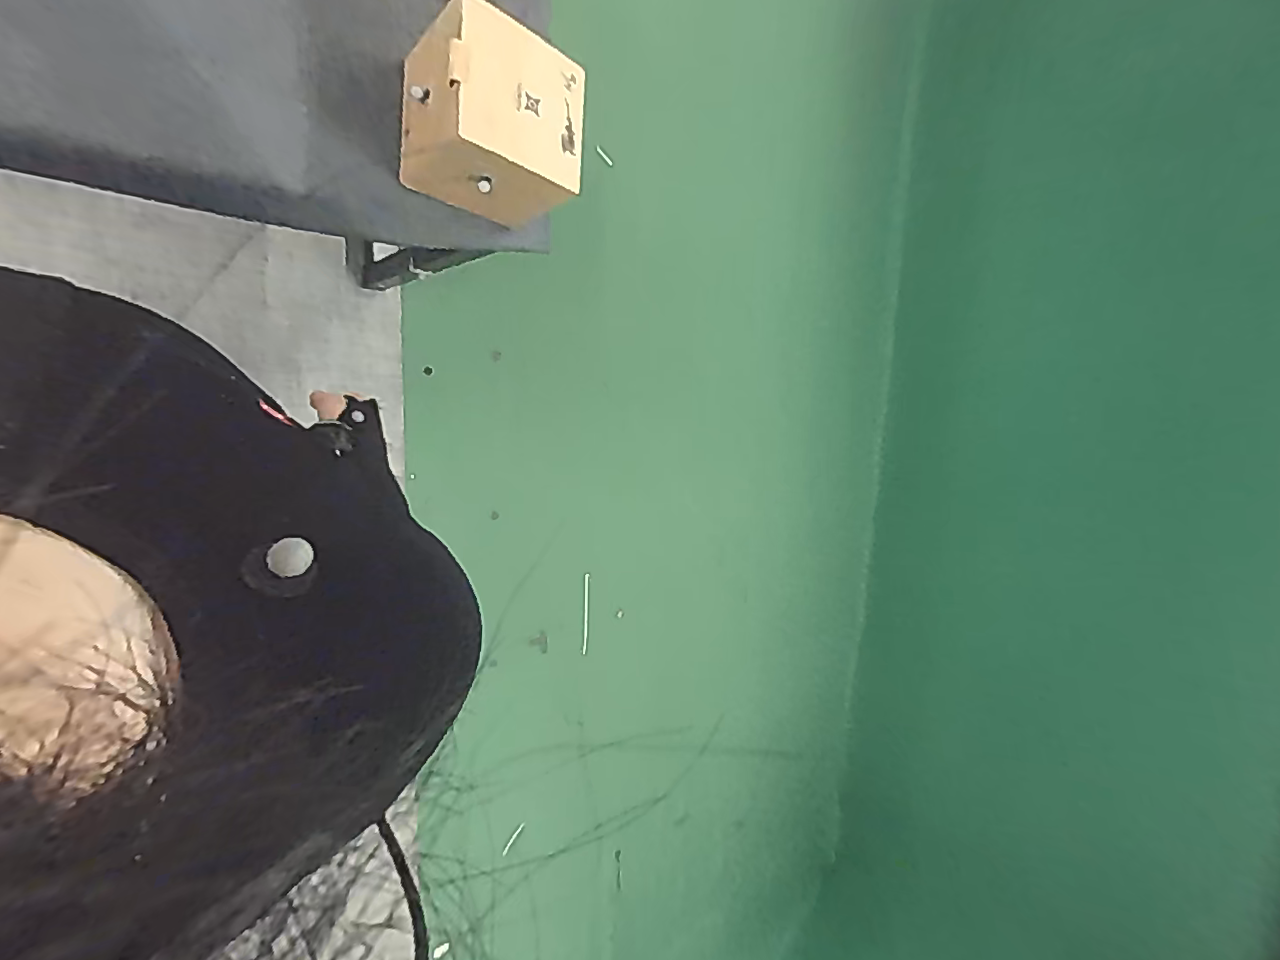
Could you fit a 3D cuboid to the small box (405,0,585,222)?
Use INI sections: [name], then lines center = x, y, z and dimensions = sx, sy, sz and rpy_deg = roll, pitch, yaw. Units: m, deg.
[small box]
center = -0.194, -0.465, 0.711
dimensions = 0.179, 0.176, 0.168
rpy_deg = 1, 93, -43
